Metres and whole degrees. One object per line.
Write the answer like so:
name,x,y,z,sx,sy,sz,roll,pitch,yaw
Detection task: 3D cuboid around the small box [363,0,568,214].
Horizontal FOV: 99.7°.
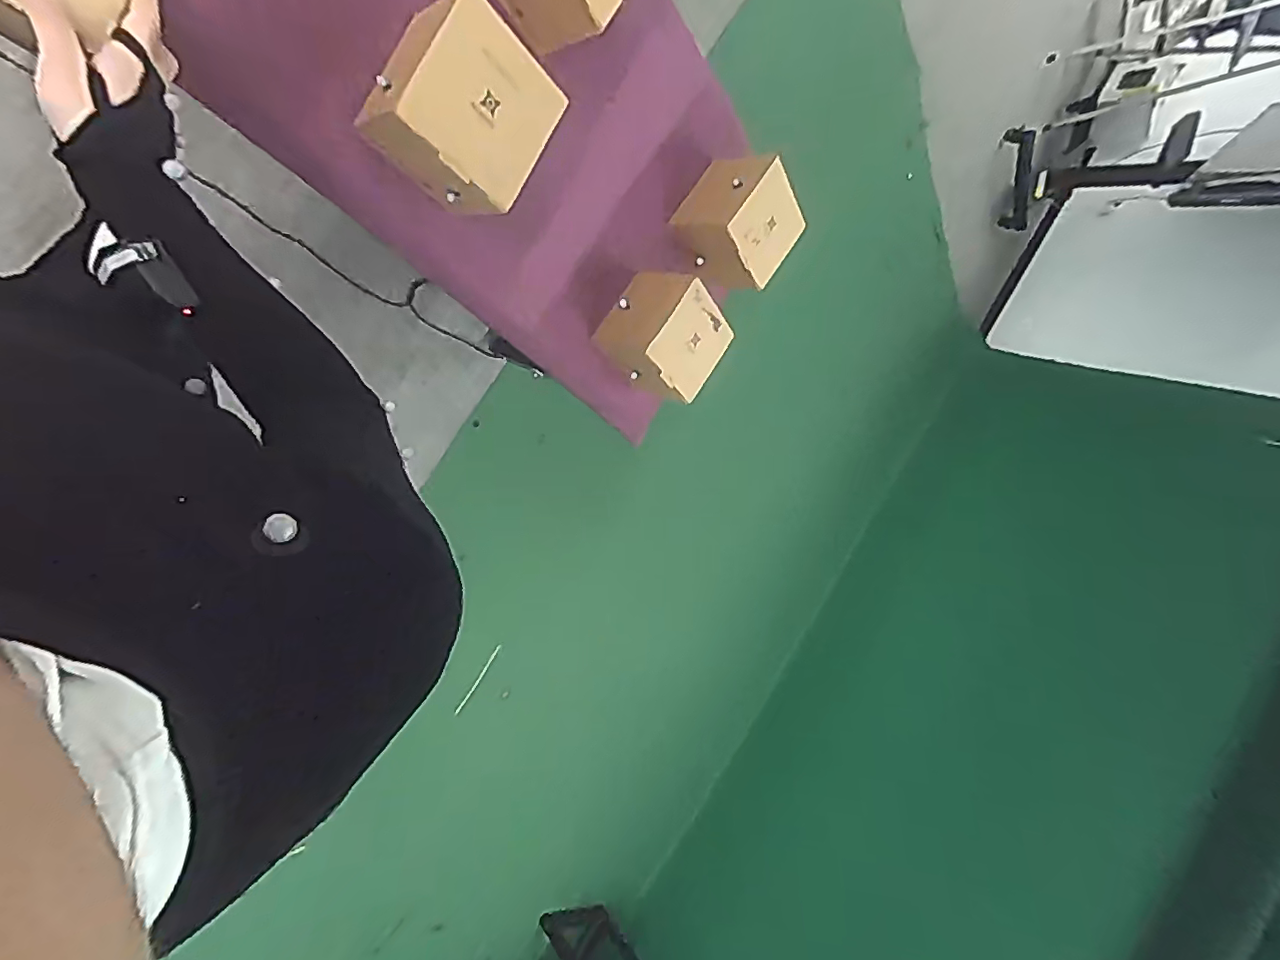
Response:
small box,-0.234,-0.477,0.707,0.168,0.176,0.179,31,88,-47

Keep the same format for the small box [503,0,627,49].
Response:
small box,-0.097,-0.721,0.708,0.168,0.176,0.179,34,88,-46

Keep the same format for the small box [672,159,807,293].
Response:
small box,0.196,-0.506,1.081,0.179,0.176,0.168,-54,135,-6

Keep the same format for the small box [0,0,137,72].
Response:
small box,-0.477,-0.452,0.402,0.168,0.176,0.179,24,91,-50

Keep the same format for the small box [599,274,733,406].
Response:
small box,0.044,-0.277,1.058,0.179,0.176,0.168,-55,135,-7
